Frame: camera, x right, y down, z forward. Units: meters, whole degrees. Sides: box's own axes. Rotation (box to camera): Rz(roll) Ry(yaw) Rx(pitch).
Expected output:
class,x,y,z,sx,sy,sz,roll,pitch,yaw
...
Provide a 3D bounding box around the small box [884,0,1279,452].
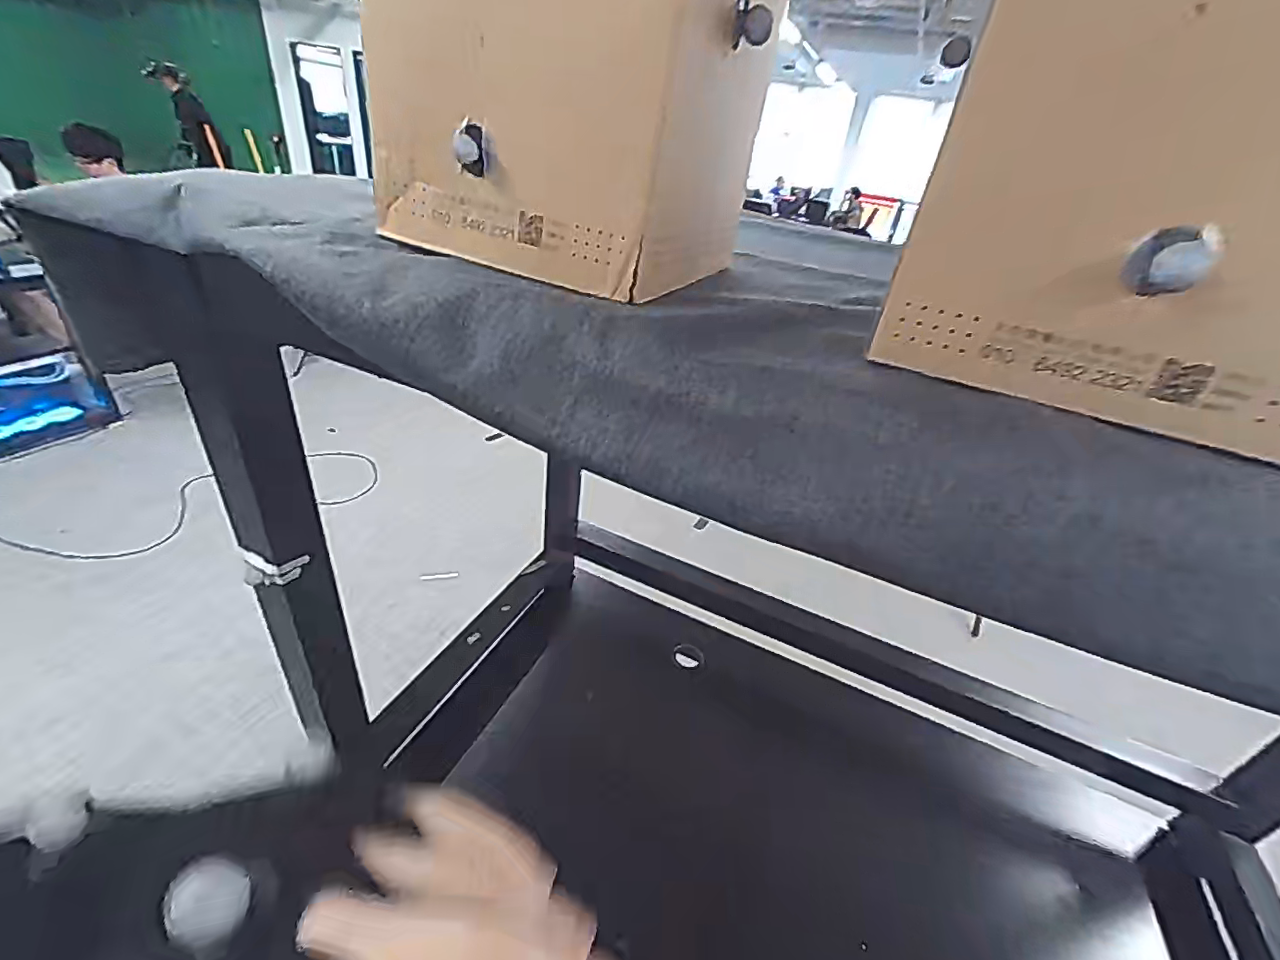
class,x,y,z,sx,sy,sz,roll,pitch,yaw
small box,0.221,-0.133,0.234,0.168,0.176,0.179,20,32,19

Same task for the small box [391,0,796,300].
class,x,y,z,sx,sy,sz,roll,pitch,yaw
small box,-0.026,-0.217,0.315,0.168,0.176,0.179,20,32,16
